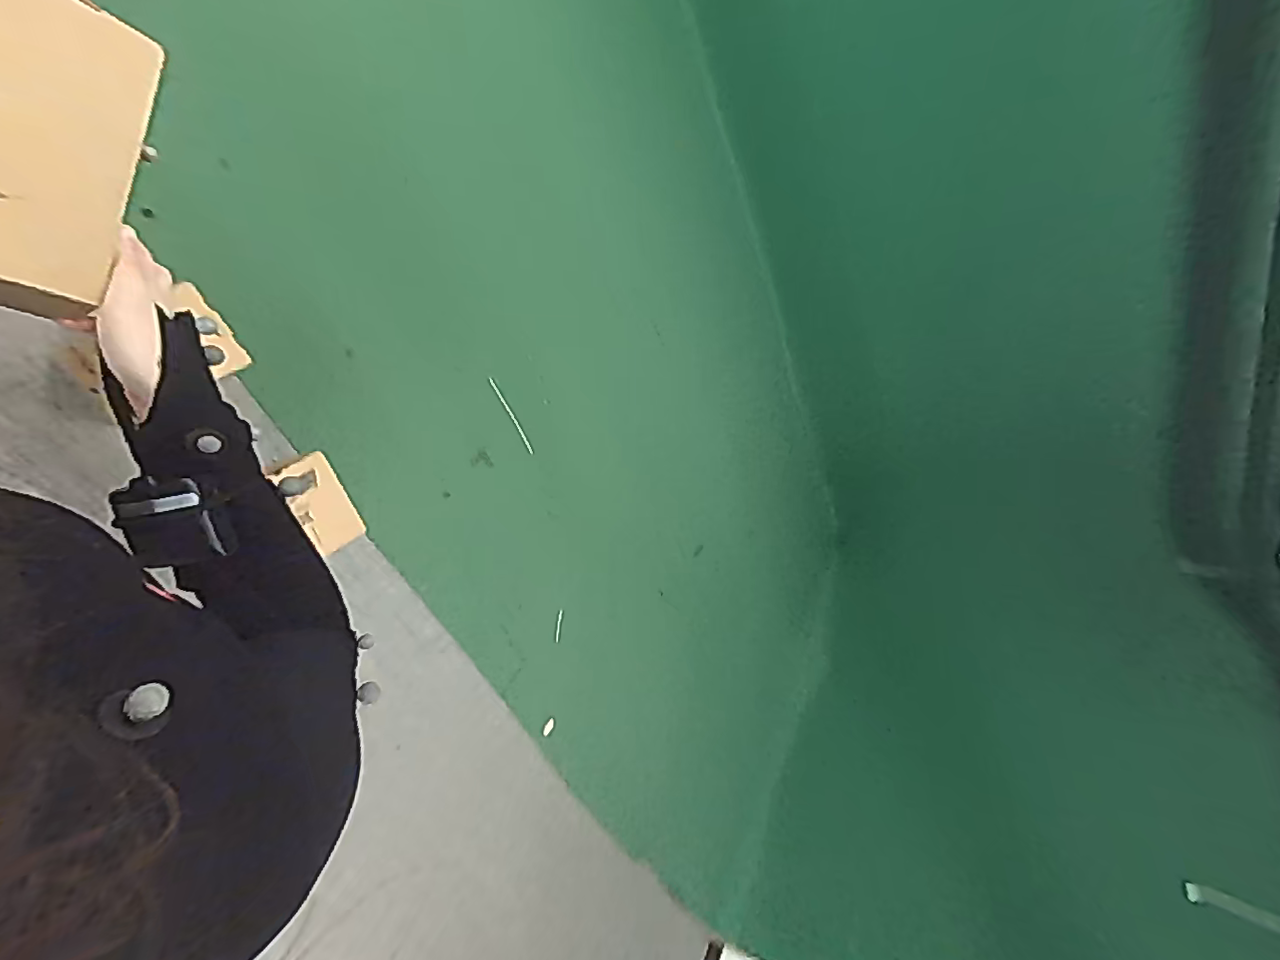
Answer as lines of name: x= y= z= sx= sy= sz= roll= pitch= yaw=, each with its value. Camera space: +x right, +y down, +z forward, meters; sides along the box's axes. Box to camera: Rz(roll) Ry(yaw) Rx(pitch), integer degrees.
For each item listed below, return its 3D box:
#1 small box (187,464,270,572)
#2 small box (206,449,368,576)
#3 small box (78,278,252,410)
small box: x=-0.782 y=0.070 z=1.112 sx=0.168 sy=0.176 sz=0.179 roll=-37 pitch=116 yaw=-45
small box: x=-0.657 y=0.059 z=1.007 sx=0.168 sy=0.176 sz=0.179 roll=-40 pitch=119 yaw=-45
small box: x=-0.883 y=-0.246 z=1.005 sx=0.179 sy=0.176 sz=0.168 roll=-52 pitch=126 yaw=-41
